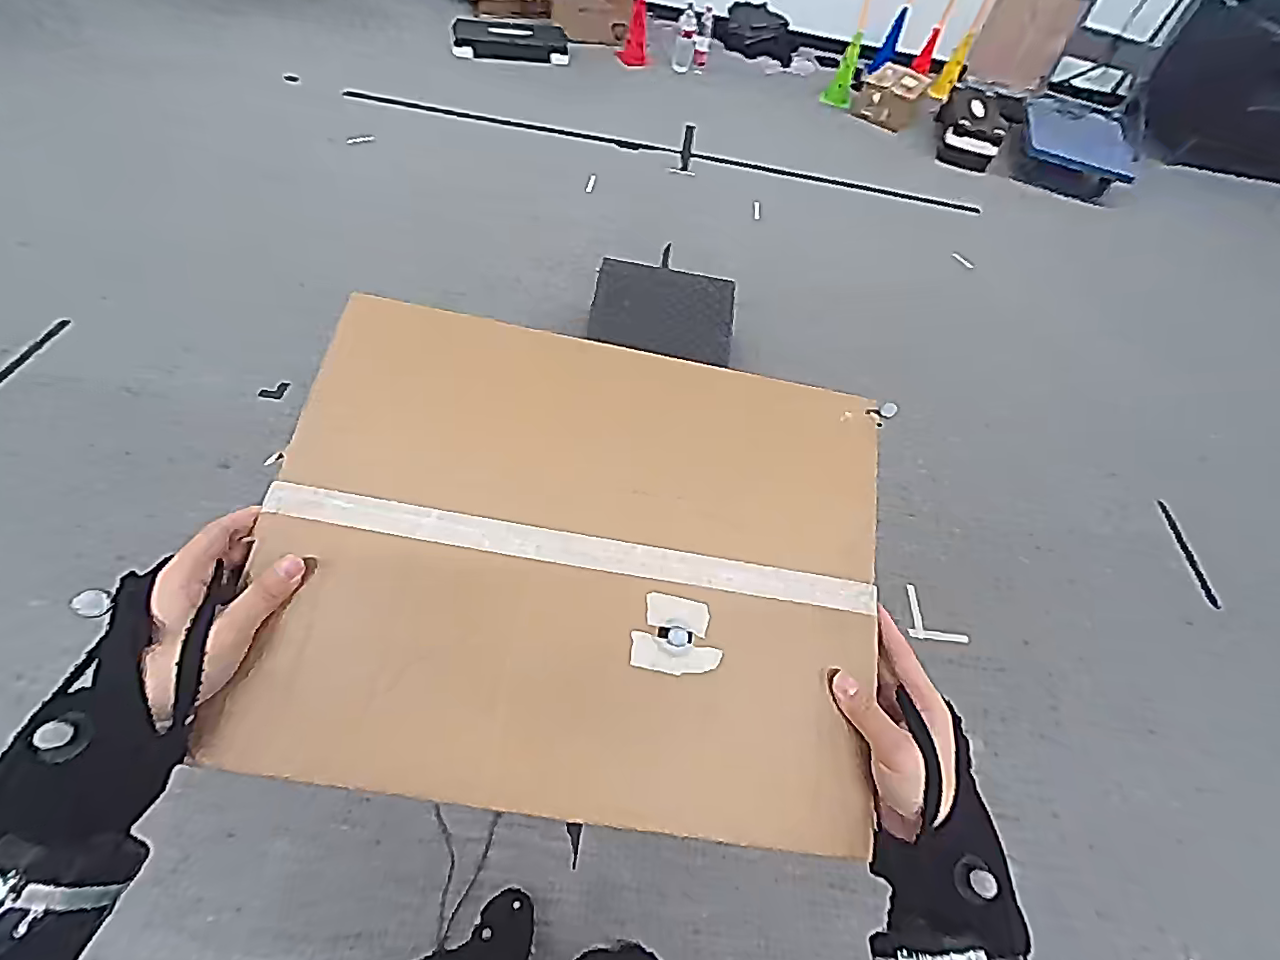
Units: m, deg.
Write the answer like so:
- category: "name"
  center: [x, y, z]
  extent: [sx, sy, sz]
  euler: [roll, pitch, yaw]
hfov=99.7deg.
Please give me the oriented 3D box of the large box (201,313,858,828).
- category: "large box"
  center: [-0.061, 0.092, 0.513]
  extent: [0.408, 0.320, 0.320]
  euler: [10, 72, -5]
